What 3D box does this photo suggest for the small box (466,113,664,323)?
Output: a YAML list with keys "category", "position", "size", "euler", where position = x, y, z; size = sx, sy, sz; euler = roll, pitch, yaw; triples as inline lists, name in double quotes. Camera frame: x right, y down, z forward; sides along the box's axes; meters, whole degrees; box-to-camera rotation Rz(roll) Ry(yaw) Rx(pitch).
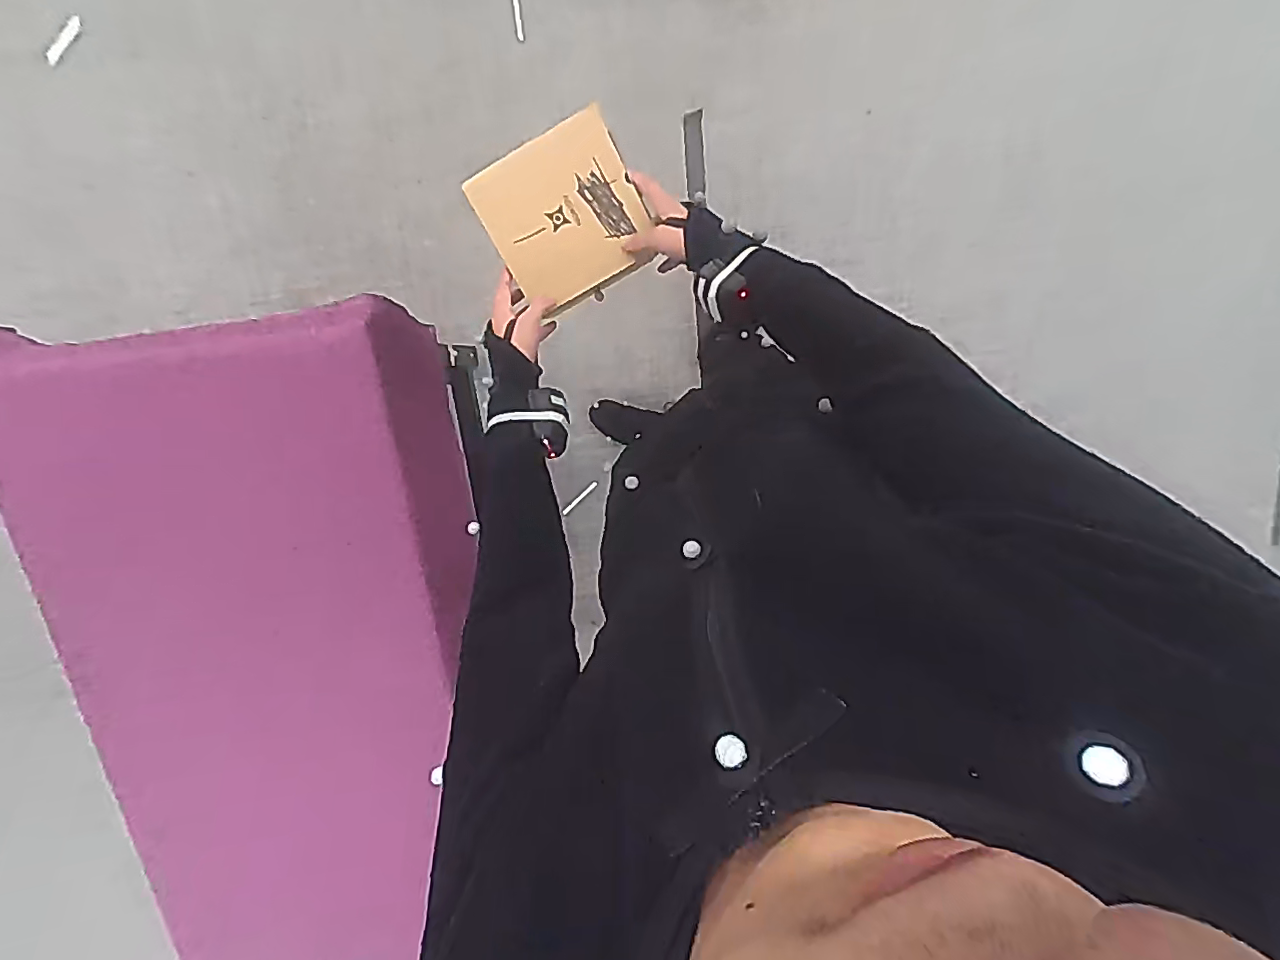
- category: "small box"
  position: [-0.089, -0.319, 0.695]
  size: [0.179, 0.176, 0.168]
  euler: [-28, 106, 6]
